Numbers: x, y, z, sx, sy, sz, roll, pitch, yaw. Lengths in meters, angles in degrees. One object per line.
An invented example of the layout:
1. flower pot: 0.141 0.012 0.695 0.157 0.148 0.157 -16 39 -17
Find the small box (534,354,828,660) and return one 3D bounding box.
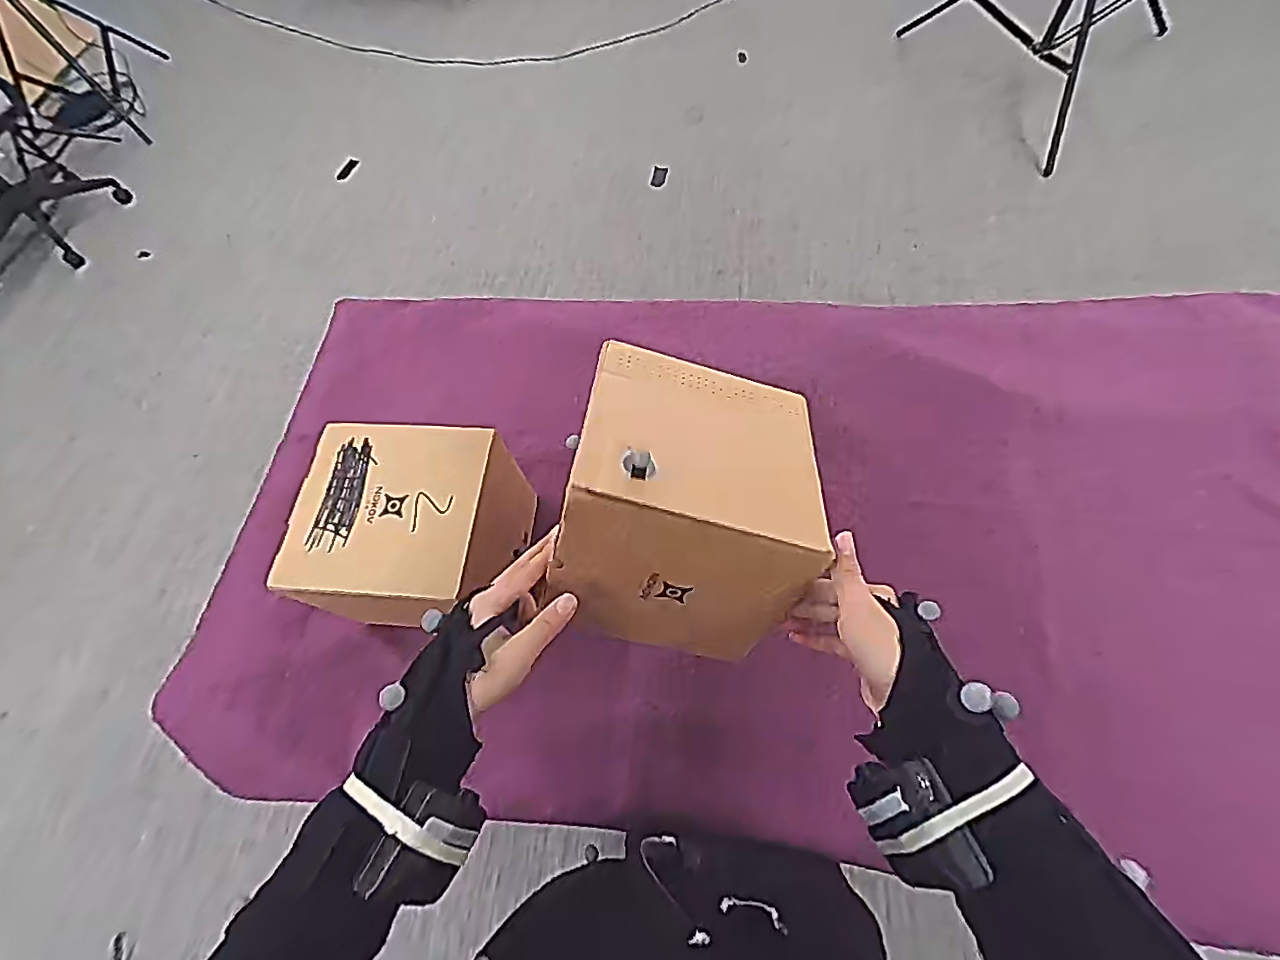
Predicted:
1. small box: 0.026 0.020 0.446 0.179 0.168 0.176 14 43 -6
